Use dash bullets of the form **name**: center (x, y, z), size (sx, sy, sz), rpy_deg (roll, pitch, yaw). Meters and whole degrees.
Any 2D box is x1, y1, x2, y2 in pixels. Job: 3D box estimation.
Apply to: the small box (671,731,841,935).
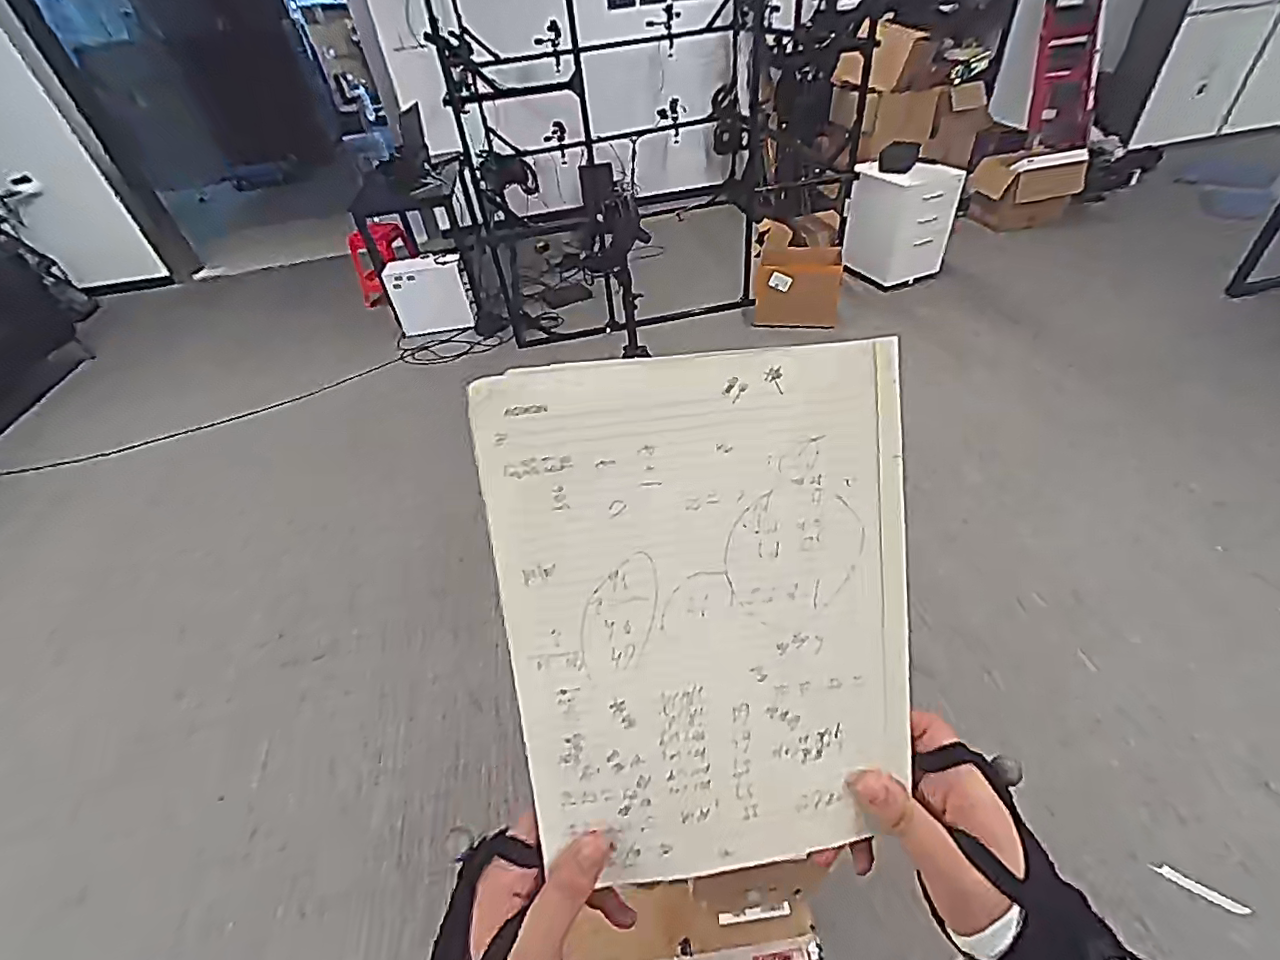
- **small box**: center (0.130, 0.446, 0.686), size (0.168, 0.176, 0.179), rpy_deg (-5, 44, -2)
